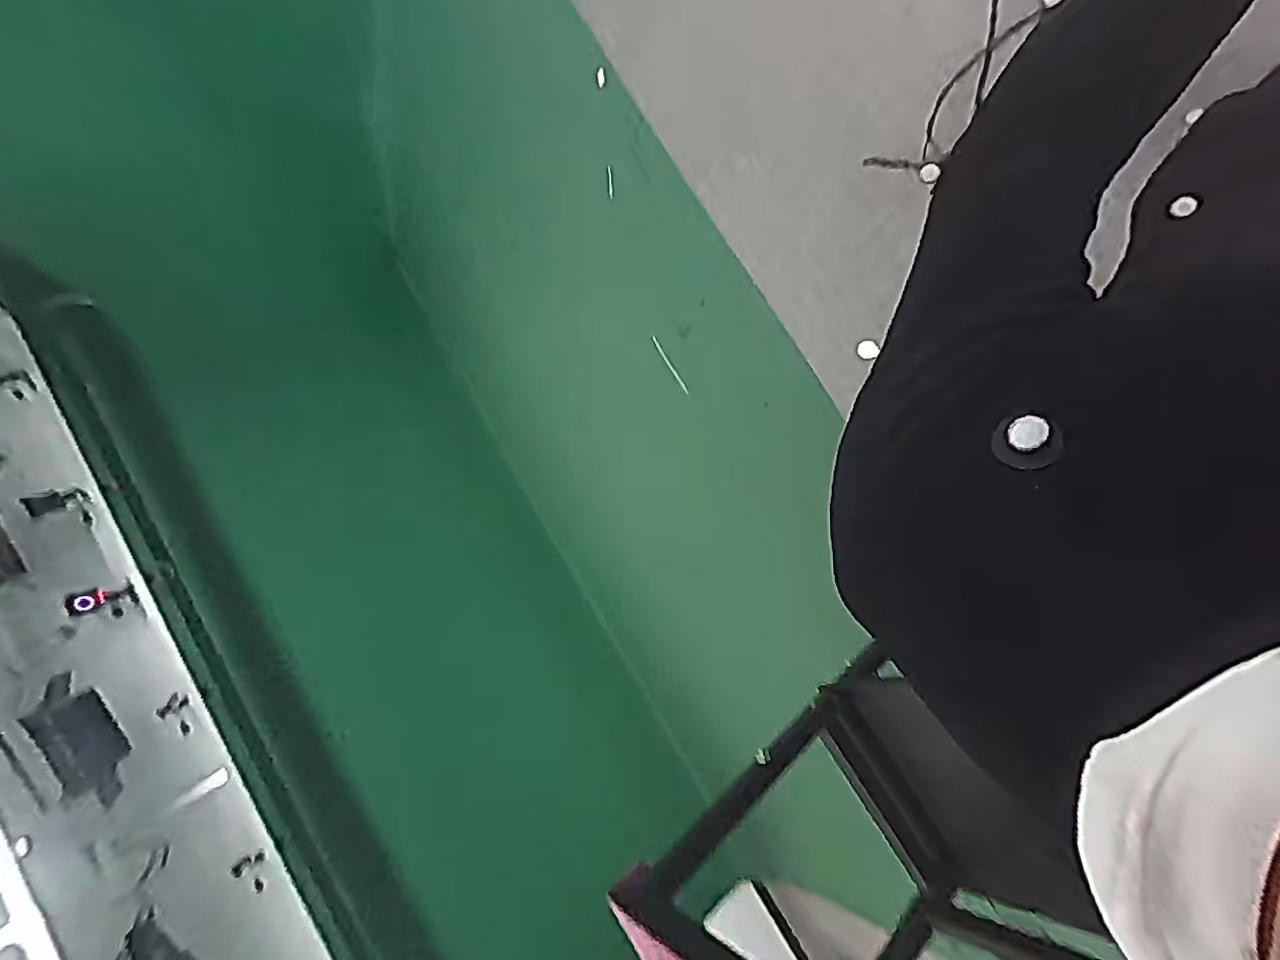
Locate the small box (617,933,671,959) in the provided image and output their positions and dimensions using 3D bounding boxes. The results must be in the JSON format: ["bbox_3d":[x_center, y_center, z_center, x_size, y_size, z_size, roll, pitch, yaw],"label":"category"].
[{"bbox_3d":[0.020,0.938,0.921,0.168,0.176,0.179,59,149,1],"label":"small box"}]
